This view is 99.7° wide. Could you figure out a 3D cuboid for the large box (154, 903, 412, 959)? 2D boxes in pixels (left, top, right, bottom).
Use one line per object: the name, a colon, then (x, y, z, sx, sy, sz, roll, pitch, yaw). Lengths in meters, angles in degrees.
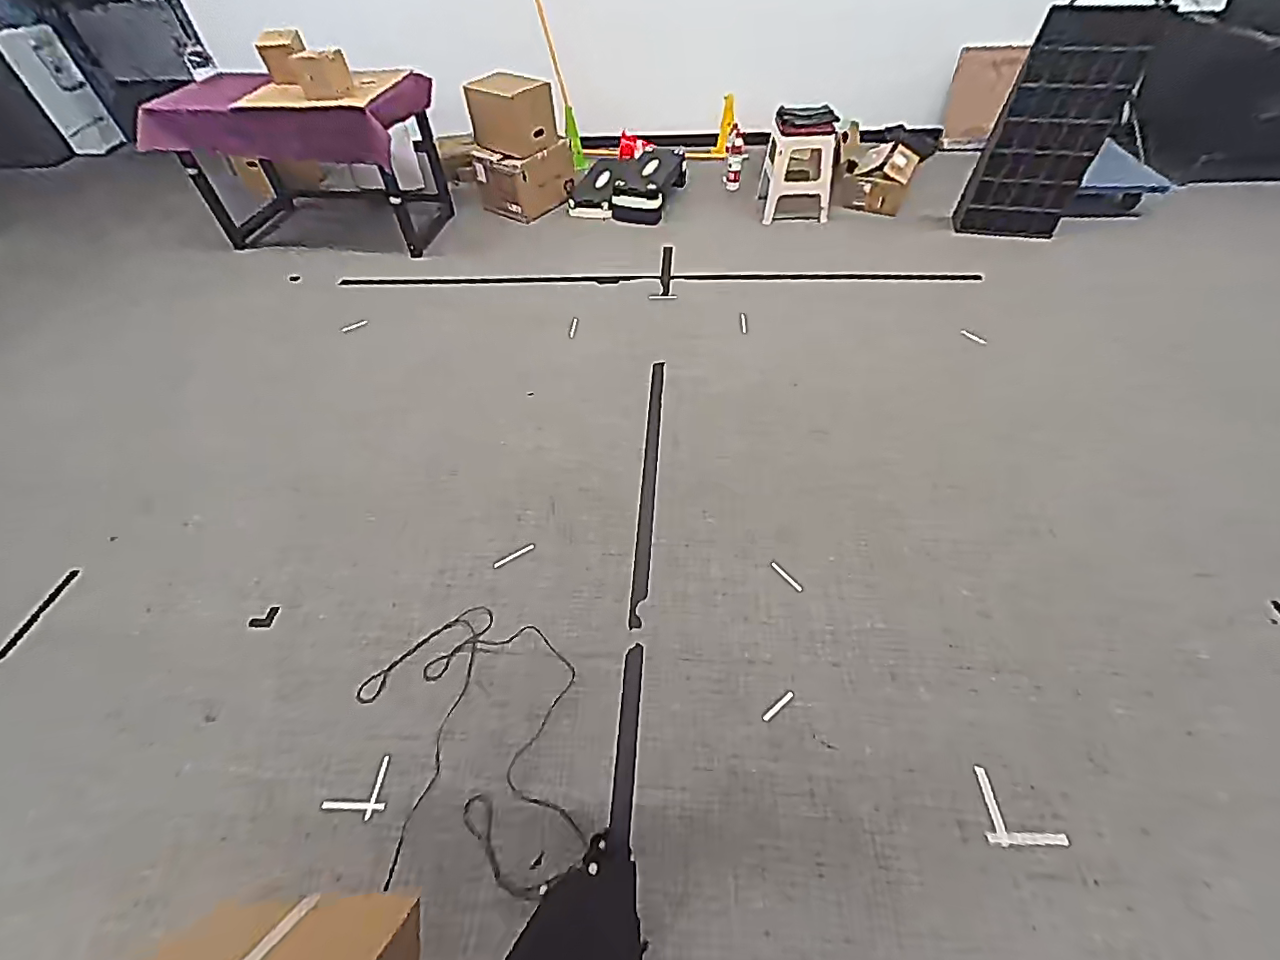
large box: (-0.486, 0.761, 0.596, 0.320, 0.408, 0.320, -4, 82, 1)
